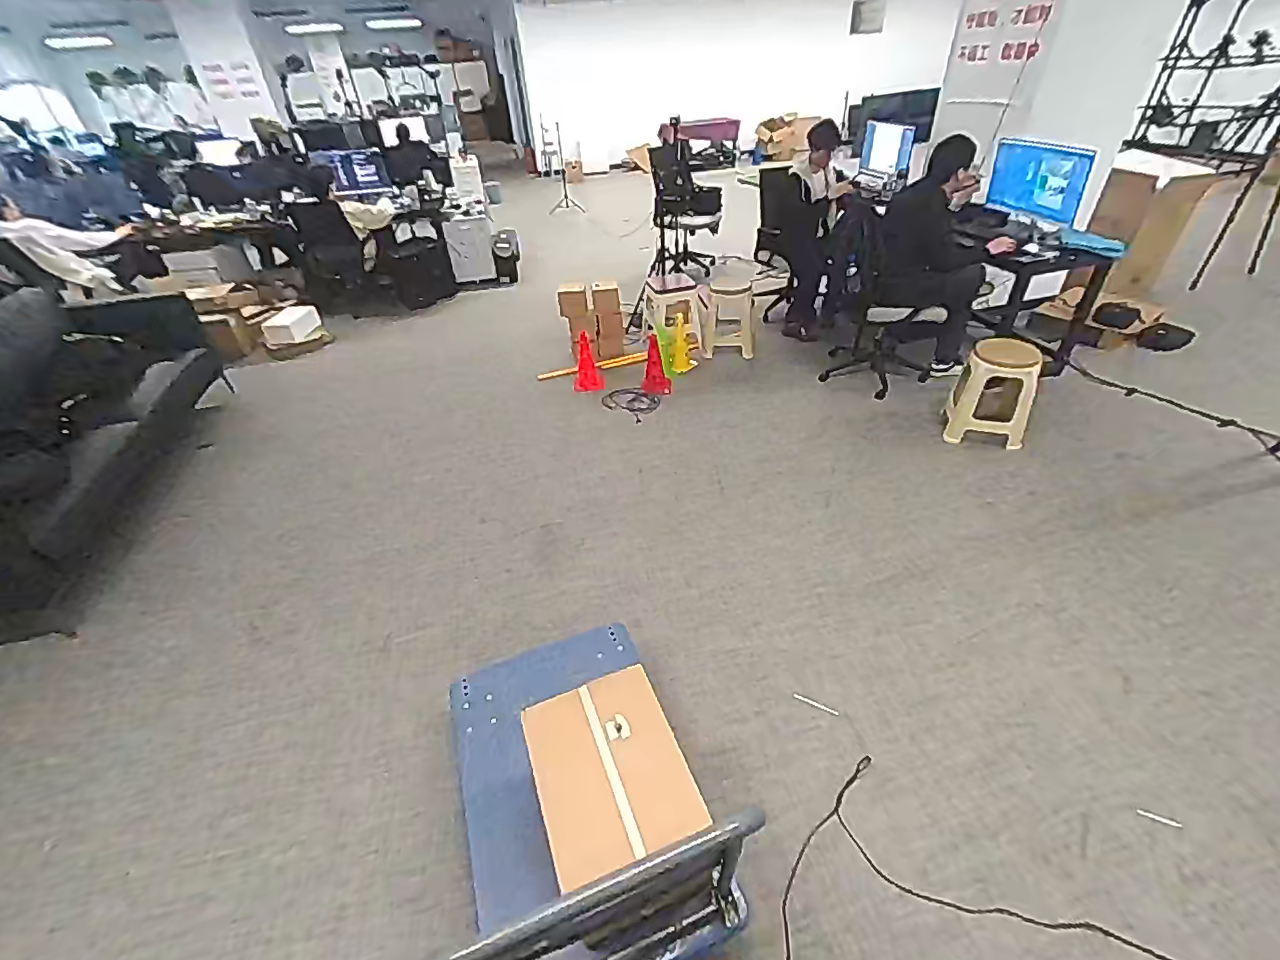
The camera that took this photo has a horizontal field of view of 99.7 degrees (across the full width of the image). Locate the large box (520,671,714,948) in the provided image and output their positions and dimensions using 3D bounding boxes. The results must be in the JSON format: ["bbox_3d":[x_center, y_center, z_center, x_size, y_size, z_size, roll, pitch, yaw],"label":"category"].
[{"bbox_3d":[-0.055,0.743,1.254,0.320,0.320,0.408,-16,39,-15],"label":"large box"}]
